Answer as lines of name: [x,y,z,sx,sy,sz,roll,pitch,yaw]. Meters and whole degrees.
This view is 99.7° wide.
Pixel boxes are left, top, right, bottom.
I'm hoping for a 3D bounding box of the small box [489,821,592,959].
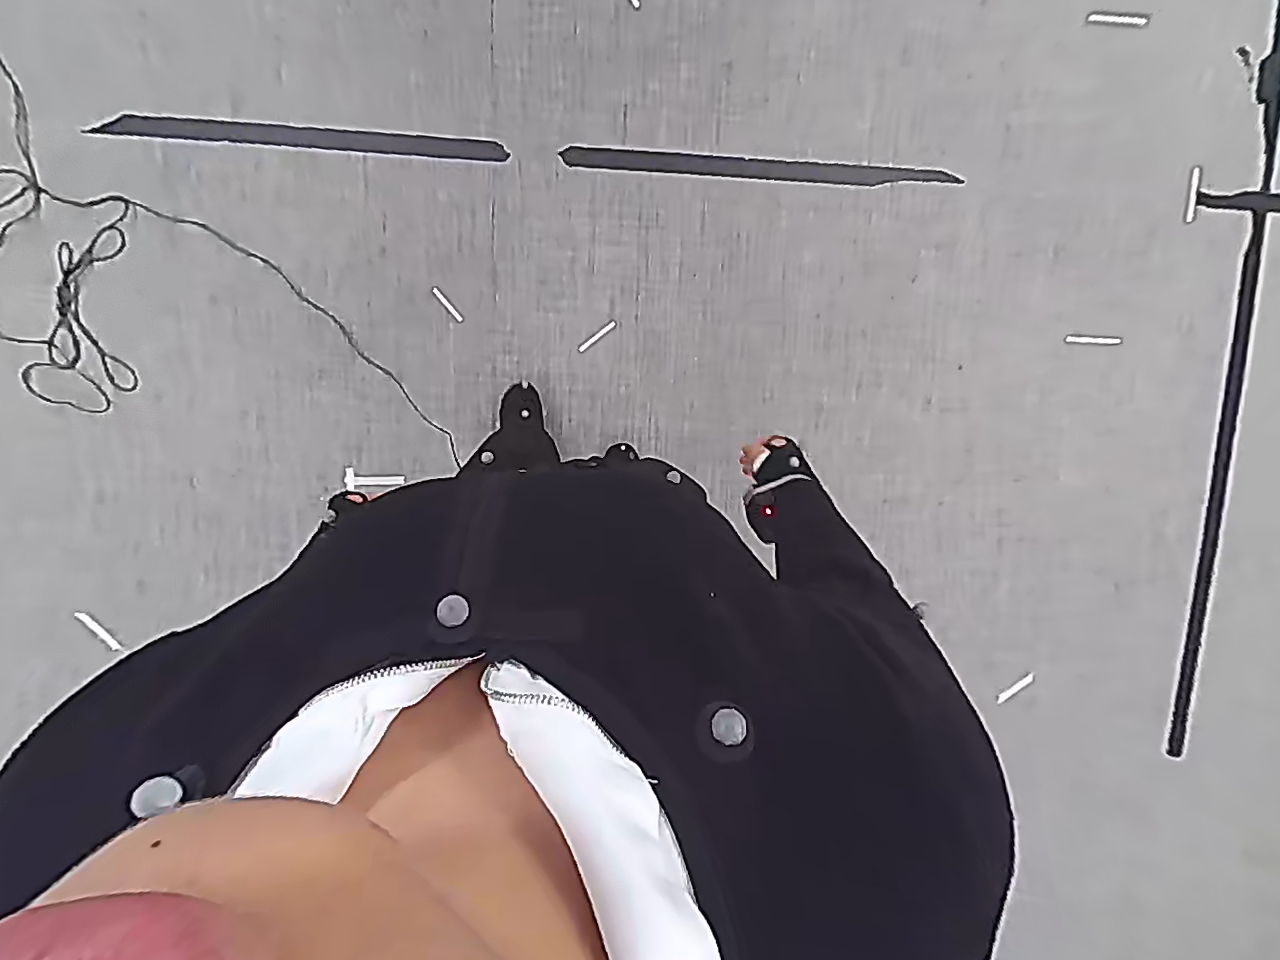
small box: [-0.177,0.774,1.001,0.168,0.176,0.179,2,93,-3]
